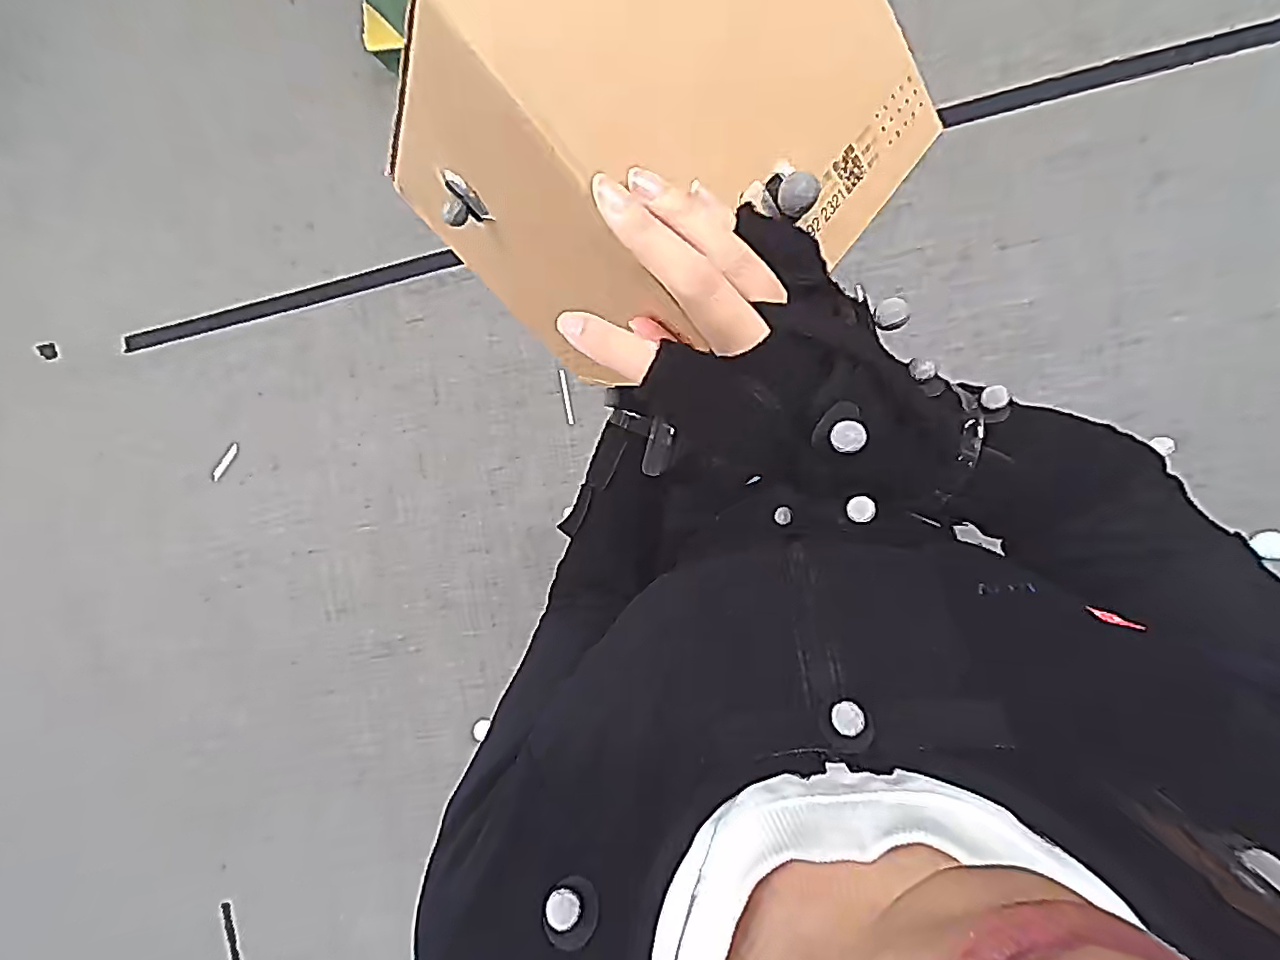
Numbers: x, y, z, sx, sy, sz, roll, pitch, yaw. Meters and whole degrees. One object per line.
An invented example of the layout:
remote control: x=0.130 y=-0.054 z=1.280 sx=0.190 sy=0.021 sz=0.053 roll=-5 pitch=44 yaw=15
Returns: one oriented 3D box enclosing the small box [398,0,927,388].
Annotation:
small box: x=0.003 y=-0.163 z=0.282 sx=0.176 sy=0.179 sz=0.168 roll=43 pitch=79 yaw=-27
